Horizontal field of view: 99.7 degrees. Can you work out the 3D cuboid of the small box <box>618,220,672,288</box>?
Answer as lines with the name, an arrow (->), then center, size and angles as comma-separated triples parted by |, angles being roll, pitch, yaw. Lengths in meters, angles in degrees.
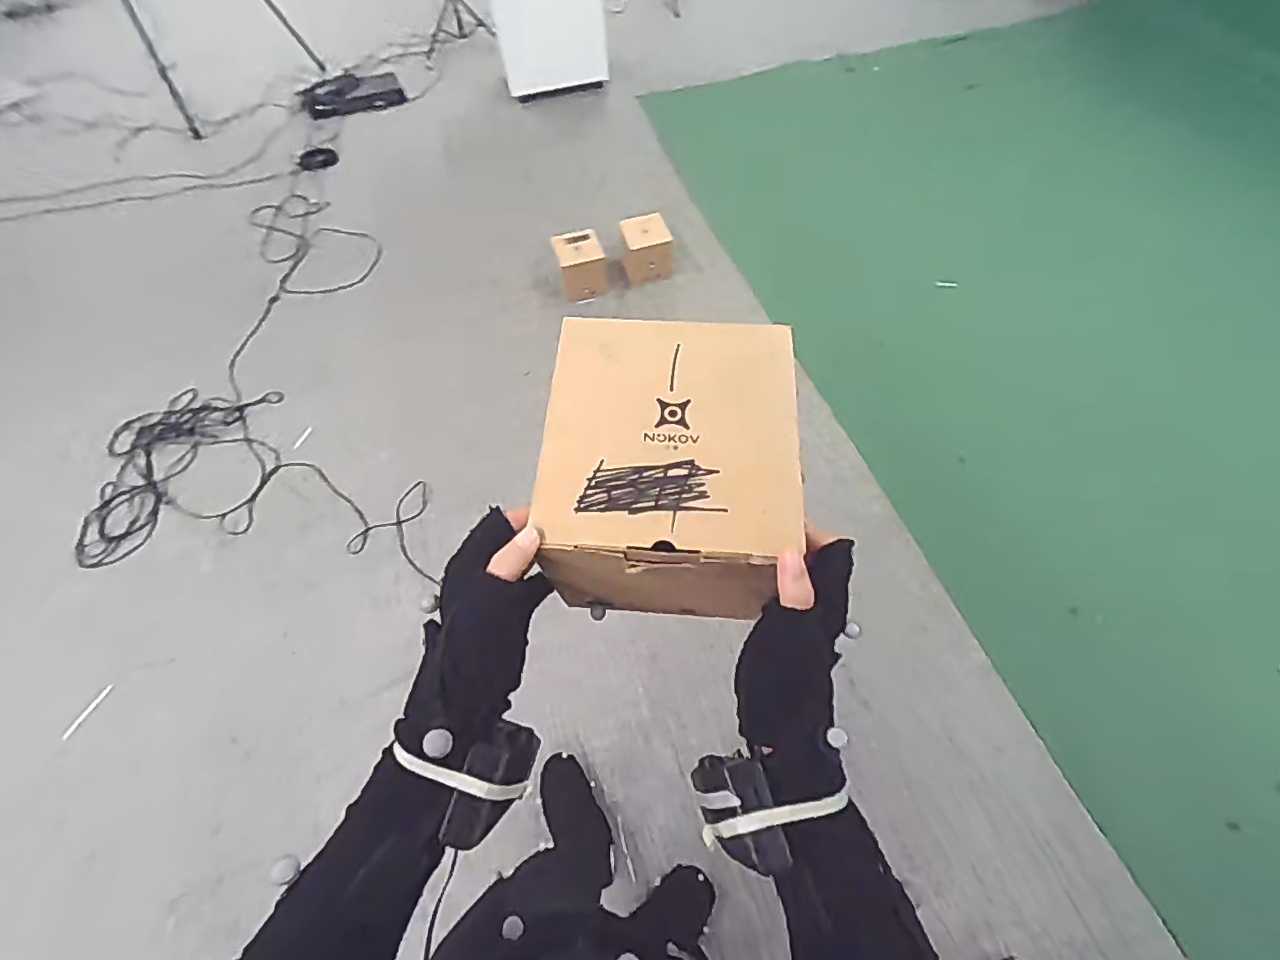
small box -> 0.022, -0.864, 2.085 | 0.168, 0.176, 0.179 | -16, 60, -8
